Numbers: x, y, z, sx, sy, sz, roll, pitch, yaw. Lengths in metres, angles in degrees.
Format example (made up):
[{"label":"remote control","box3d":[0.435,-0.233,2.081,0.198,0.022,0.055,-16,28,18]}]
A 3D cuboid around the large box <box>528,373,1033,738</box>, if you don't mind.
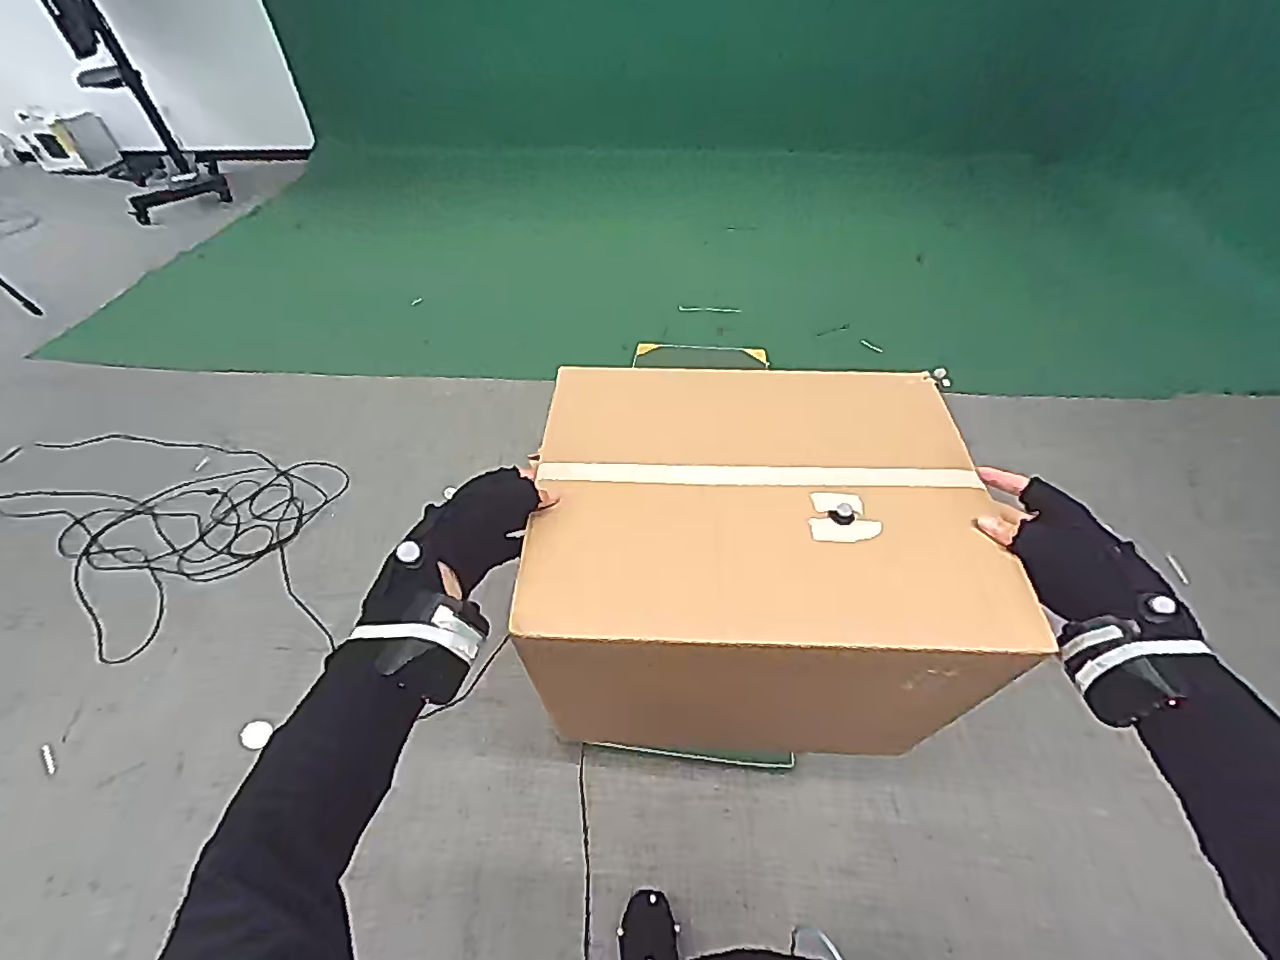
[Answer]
[{"label":"large box","box3d":[0.109,0.094,0.627,0.408,0.320,0.320,2,52,1]}]
